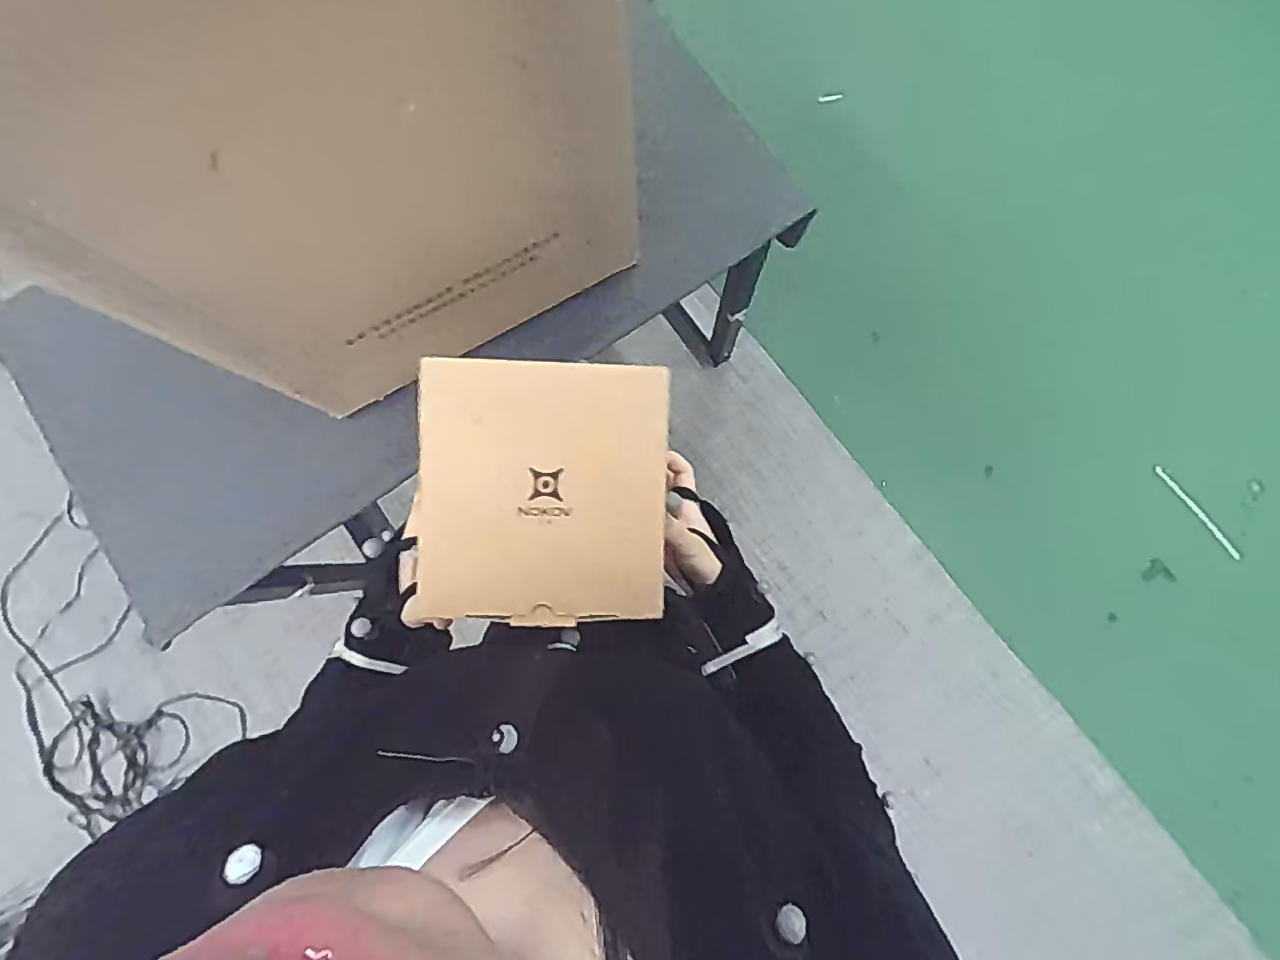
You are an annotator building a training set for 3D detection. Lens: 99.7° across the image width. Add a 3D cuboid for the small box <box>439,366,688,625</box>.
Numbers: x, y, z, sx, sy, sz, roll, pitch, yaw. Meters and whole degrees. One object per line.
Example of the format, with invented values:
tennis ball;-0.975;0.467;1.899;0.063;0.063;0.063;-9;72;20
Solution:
small box;-0.061;0.009;0.453;0.168;0.176;0.179;2;94;-6
